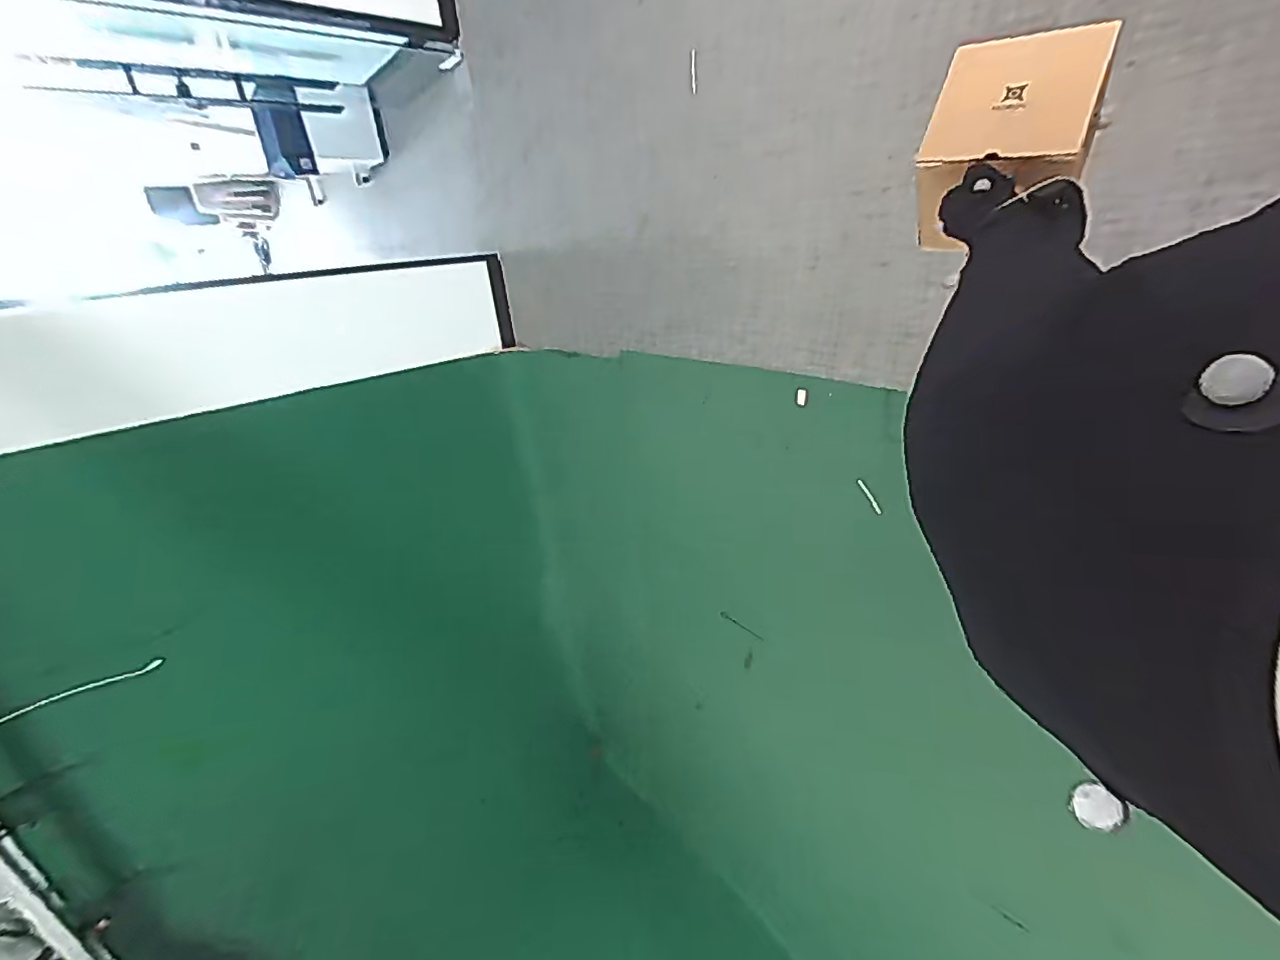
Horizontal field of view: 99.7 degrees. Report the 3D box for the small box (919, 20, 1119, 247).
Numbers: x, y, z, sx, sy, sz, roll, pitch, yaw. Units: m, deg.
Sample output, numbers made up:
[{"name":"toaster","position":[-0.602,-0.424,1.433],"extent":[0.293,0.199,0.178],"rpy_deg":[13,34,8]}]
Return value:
[{"name":"small box","position":[0.481,-0.436,0.707],"extent":[0.168,0.176,0.179],"rpy_deg":[18,83,33]}]
